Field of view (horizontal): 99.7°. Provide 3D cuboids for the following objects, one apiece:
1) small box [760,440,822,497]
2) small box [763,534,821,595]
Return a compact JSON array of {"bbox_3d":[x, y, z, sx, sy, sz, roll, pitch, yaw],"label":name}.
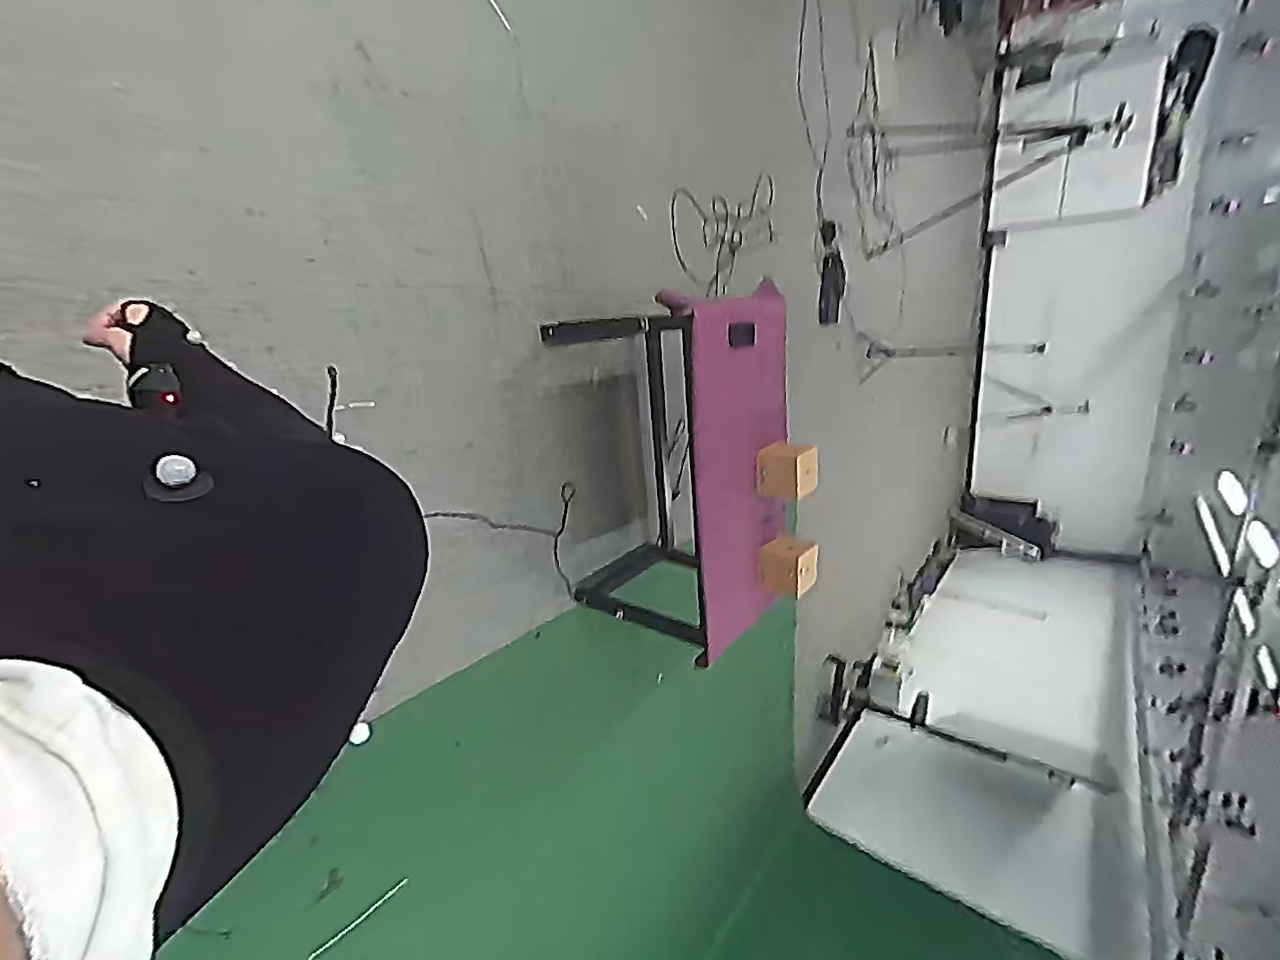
[{"bbox_3d":[0.562,-0.050,2.008,0.179,0.176,0.168,-23,113,-45],"label":"small box"},{"bbox_3d":[0.595,0.323,2.115,0.179,0.176,0.168,-21,111,-47],"label":"small box"}]
